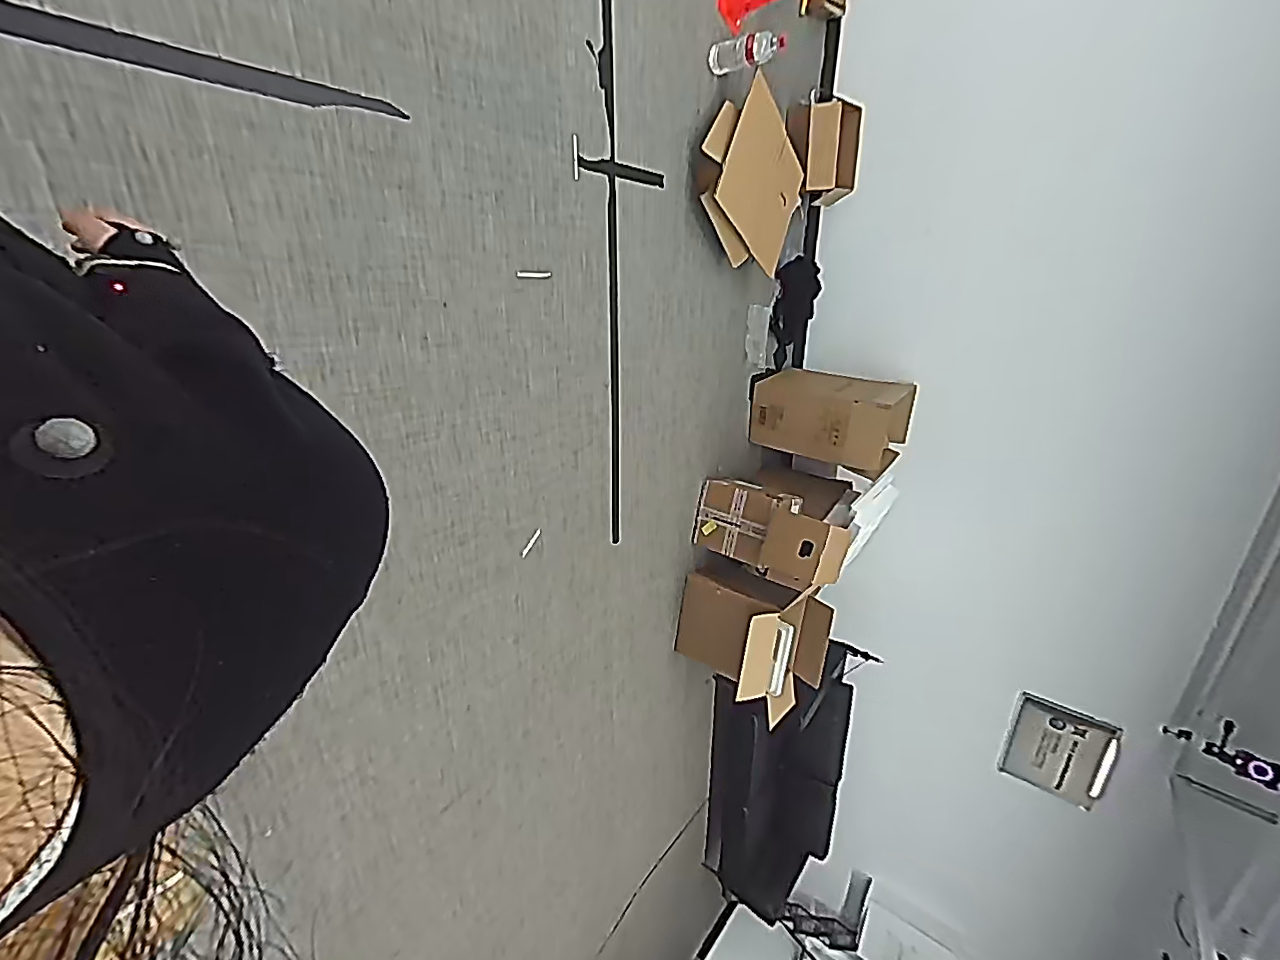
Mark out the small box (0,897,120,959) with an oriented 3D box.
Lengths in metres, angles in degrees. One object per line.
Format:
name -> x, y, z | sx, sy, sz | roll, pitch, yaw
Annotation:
small box -> -1.029, 0.886, 0.933 | 0.179, 0.176, 0.168 | -25, 121, -46
